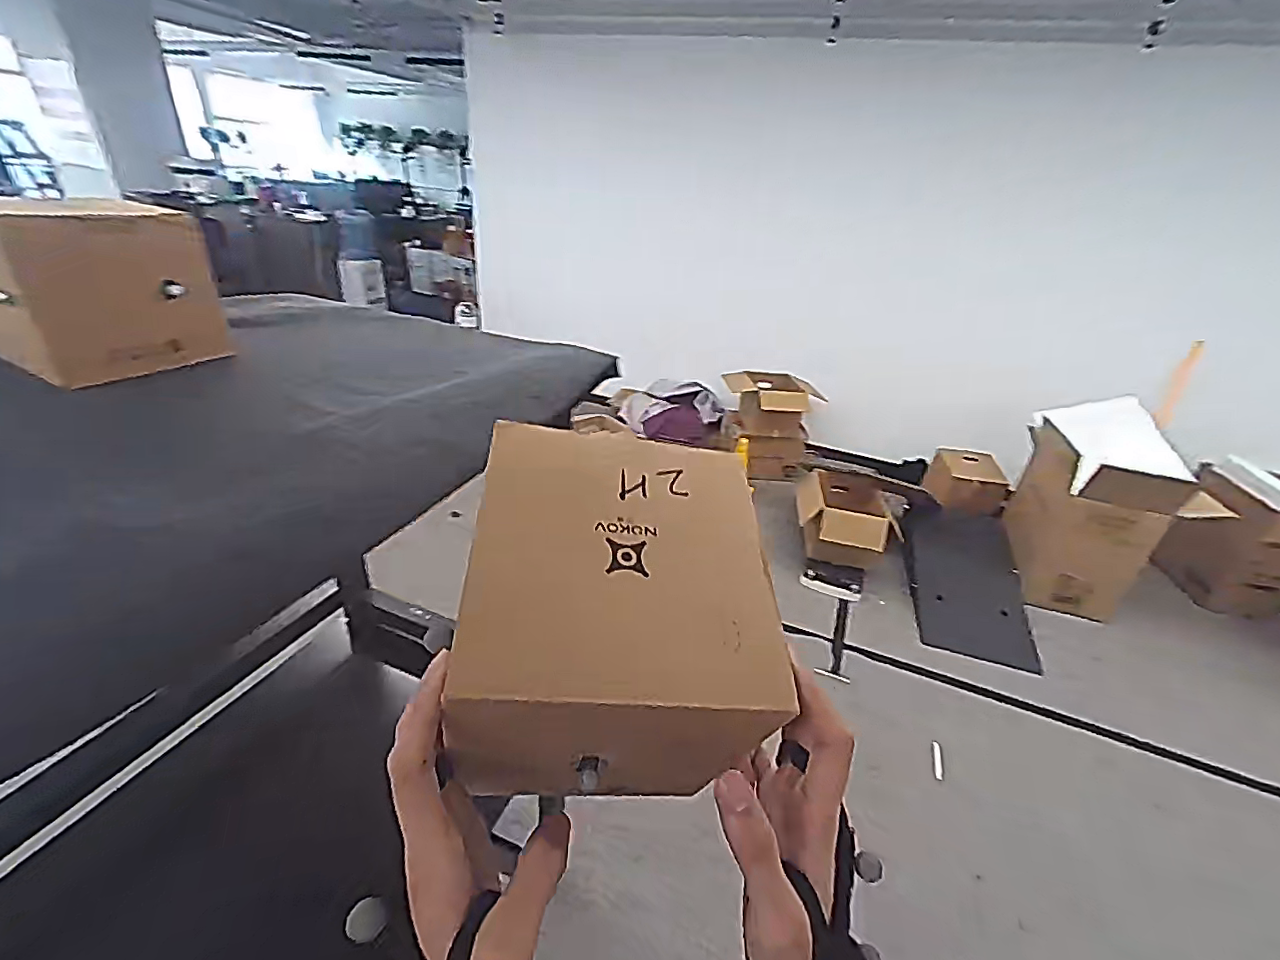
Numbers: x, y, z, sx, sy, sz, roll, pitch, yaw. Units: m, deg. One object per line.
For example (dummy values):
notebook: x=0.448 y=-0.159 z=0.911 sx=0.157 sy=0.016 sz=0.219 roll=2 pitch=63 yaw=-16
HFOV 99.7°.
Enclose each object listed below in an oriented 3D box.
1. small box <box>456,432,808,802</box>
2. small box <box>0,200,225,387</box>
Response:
small box: x=-0.017 y=0.097 z=0.355 sx=0.168 sy=0.176 sz=0.179 roll=8 pitch=47 yaw=-11
small box: x=-0.619 y=-0.214 z=0.610 sx=0.179 sy=0.176 sz=0.168 roll=18 pitch=31 yaw=22
